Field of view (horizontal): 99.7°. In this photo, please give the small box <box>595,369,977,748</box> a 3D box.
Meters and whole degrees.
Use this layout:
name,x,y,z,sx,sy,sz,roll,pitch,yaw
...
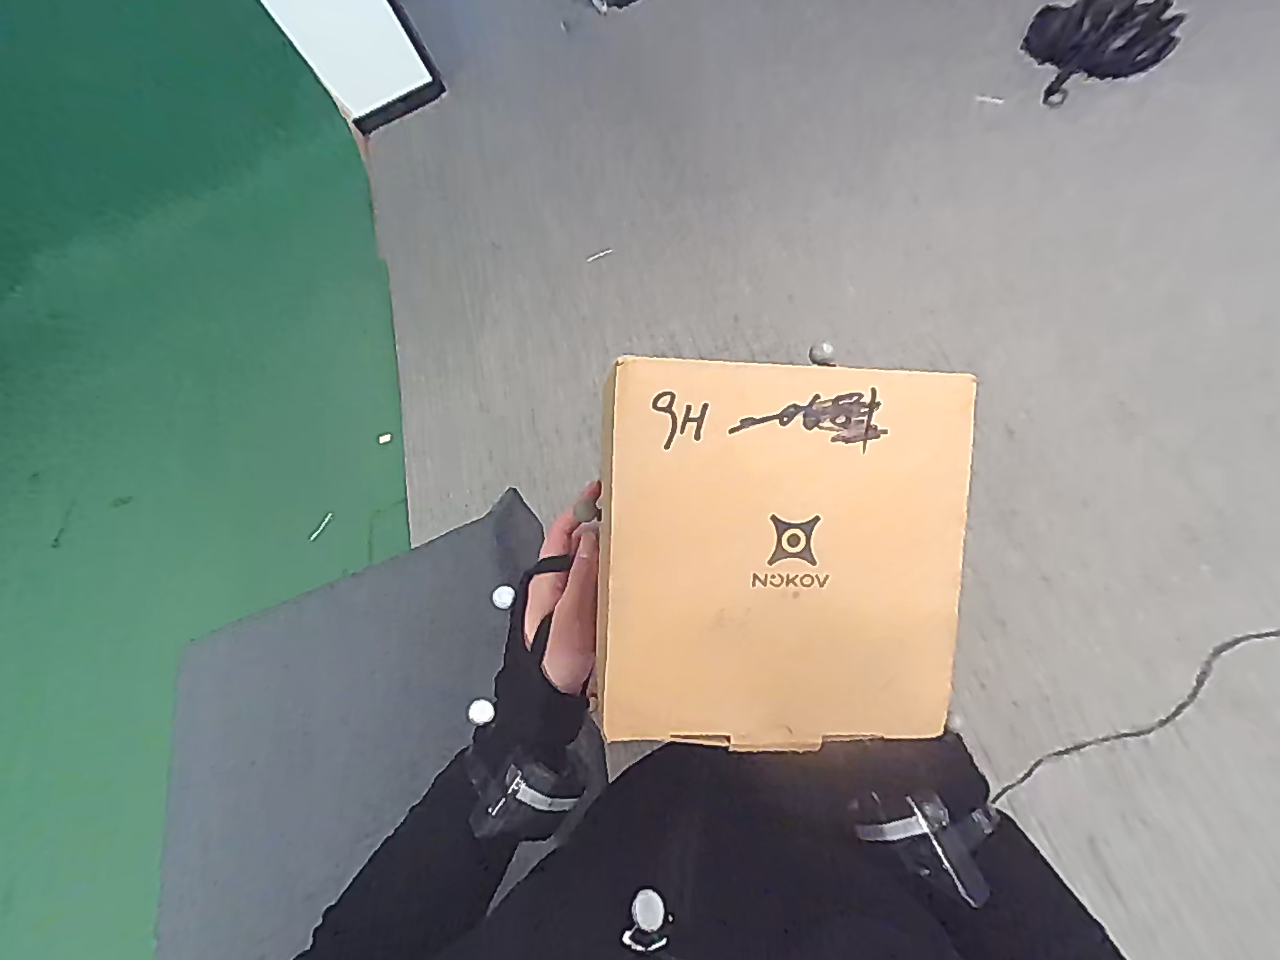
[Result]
name,x,y,z,sx,sy,sz,roll,pitch,yaw
small box,0.060,0.031,0.327,0.168,0.176,0.179,2,96,-7
